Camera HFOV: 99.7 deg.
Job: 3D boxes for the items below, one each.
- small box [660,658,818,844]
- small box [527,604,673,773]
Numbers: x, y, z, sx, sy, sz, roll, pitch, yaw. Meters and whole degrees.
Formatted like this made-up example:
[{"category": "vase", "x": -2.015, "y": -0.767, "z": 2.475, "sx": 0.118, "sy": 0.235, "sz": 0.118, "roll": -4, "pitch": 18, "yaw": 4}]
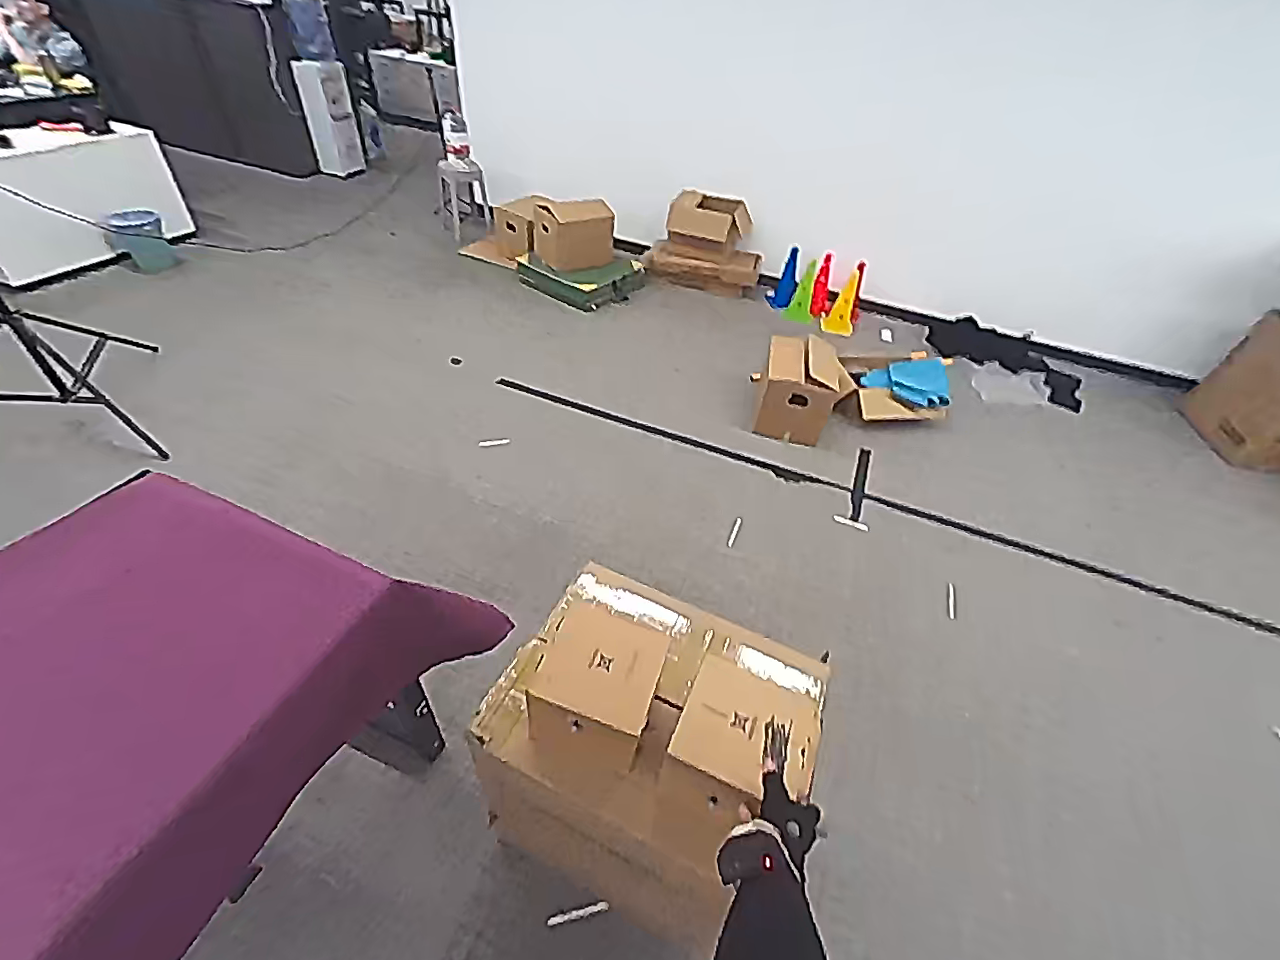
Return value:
[{"category": "small box", "x": 0.142, "y": 0.406, "z": 0.805, "sx": 0.179, "sy": 0.176, "sz": 0.168, "roll": 19, "pitch": 44, "yaw": 16}, {"category": "small box", "x": -0.062, "y": 0.333, "z": 0.859, "sx": 0.179, "sy": 0.176, "sz": 0.168, "roll": 18, "pitch": 45, "yaw": 10}]
